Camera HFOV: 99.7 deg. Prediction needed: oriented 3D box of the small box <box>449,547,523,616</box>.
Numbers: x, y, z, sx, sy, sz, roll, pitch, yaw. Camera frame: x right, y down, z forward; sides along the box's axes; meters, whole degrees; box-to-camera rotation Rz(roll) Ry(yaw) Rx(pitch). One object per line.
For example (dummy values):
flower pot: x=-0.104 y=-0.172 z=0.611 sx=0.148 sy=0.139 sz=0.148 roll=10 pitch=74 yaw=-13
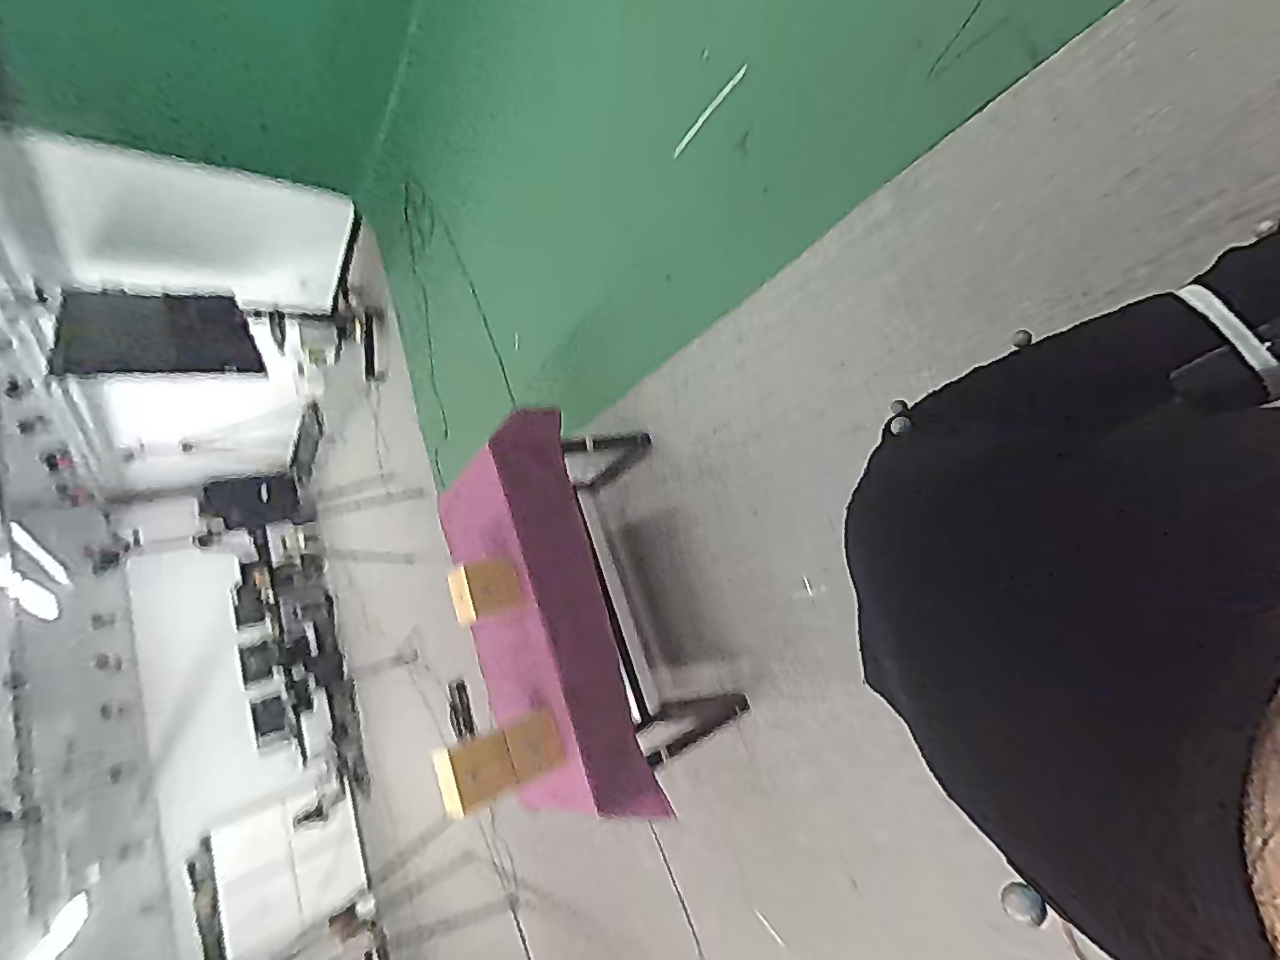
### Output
small box: x=-0.505 y=0.333 z=1.784 sx=0.168 sy=0.176 sz=0.179 roll=-27 pitch=77 yaw=49

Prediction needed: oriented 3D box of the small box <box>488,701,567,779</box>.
small box: x=-0.354 y=0.809 z=1.698 sx=0.168 sy=0.176 sz=0.179 roll=-36 pitch=70 yaw=47

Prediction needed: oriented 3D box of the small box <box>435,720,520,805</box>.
small box: x=-0.480 y=0.826 z=1.596 sx=0.168 sy=0.176 sz=0.179 roll=-38 pitch=69 yaw=47
